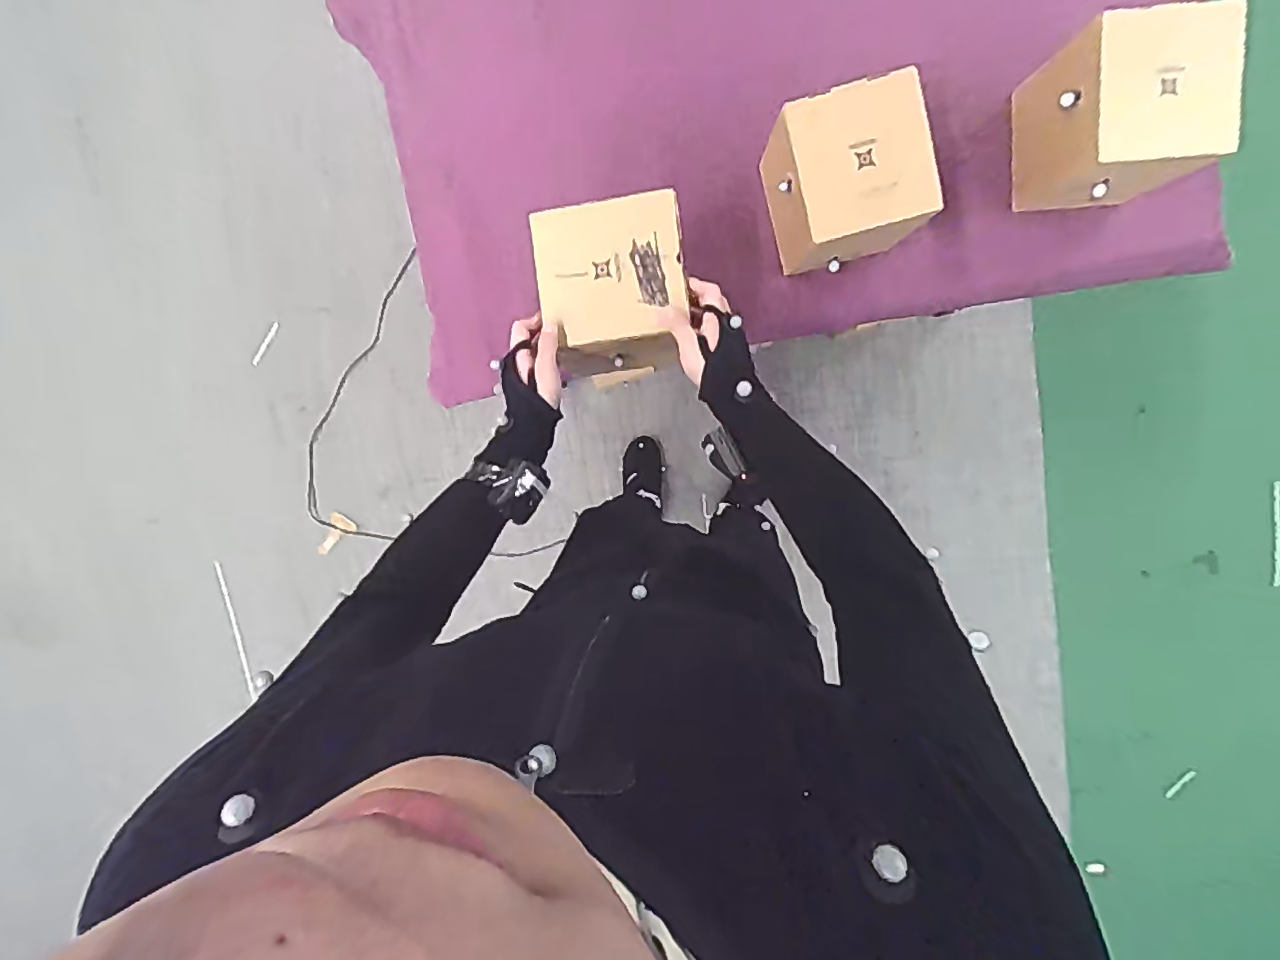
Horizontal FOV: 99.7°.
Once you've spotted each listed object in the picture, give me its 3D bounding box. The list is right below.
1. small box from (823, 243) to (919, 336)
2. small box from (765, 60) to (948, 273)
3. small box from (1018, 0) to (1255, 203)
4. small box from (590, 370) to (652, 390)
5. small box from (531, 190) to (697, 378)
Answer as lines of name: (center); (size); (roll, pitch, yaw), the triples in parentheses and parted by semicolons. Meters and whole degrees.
small box: (0.609, -0.502, 1.446); (0.168, 0.176, 0.179); (-16, 96, 3)
small box: (0.279, -0.408, 0.734); (0.168, 0.176, 0.179); (-14, 96, 4)
small box: (0.636, -0.486, 0.717); (0.168, 0.176, 0.179); (-4, 96, 3)
small box: (-0.066, -0.352, 1.480); (0.168, 0.176, 0.179); (-18, 96, 4)
small box: (-0.025, -0.236, 0.693); (0.179, 0.176, 0.168); (-7, 88, 5)
